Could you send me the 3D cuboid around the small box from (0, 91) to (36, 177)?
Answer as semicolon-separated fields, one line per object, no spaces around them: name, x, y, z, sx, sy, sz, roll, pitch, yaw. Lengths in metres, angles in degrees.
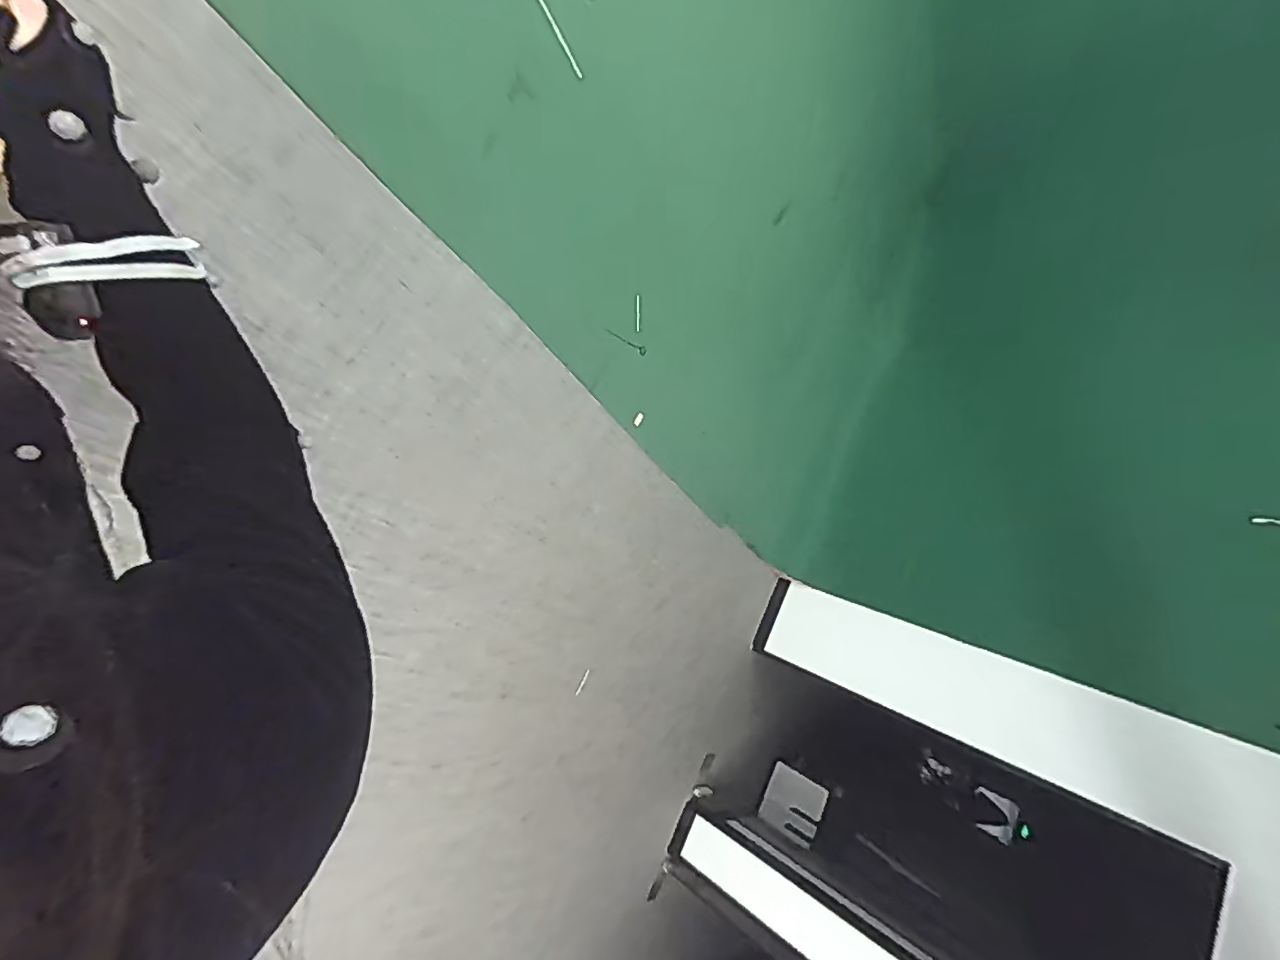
small box;-0.924;-0.451;0.678;0.168;0.176;0.179;40;72;-50
